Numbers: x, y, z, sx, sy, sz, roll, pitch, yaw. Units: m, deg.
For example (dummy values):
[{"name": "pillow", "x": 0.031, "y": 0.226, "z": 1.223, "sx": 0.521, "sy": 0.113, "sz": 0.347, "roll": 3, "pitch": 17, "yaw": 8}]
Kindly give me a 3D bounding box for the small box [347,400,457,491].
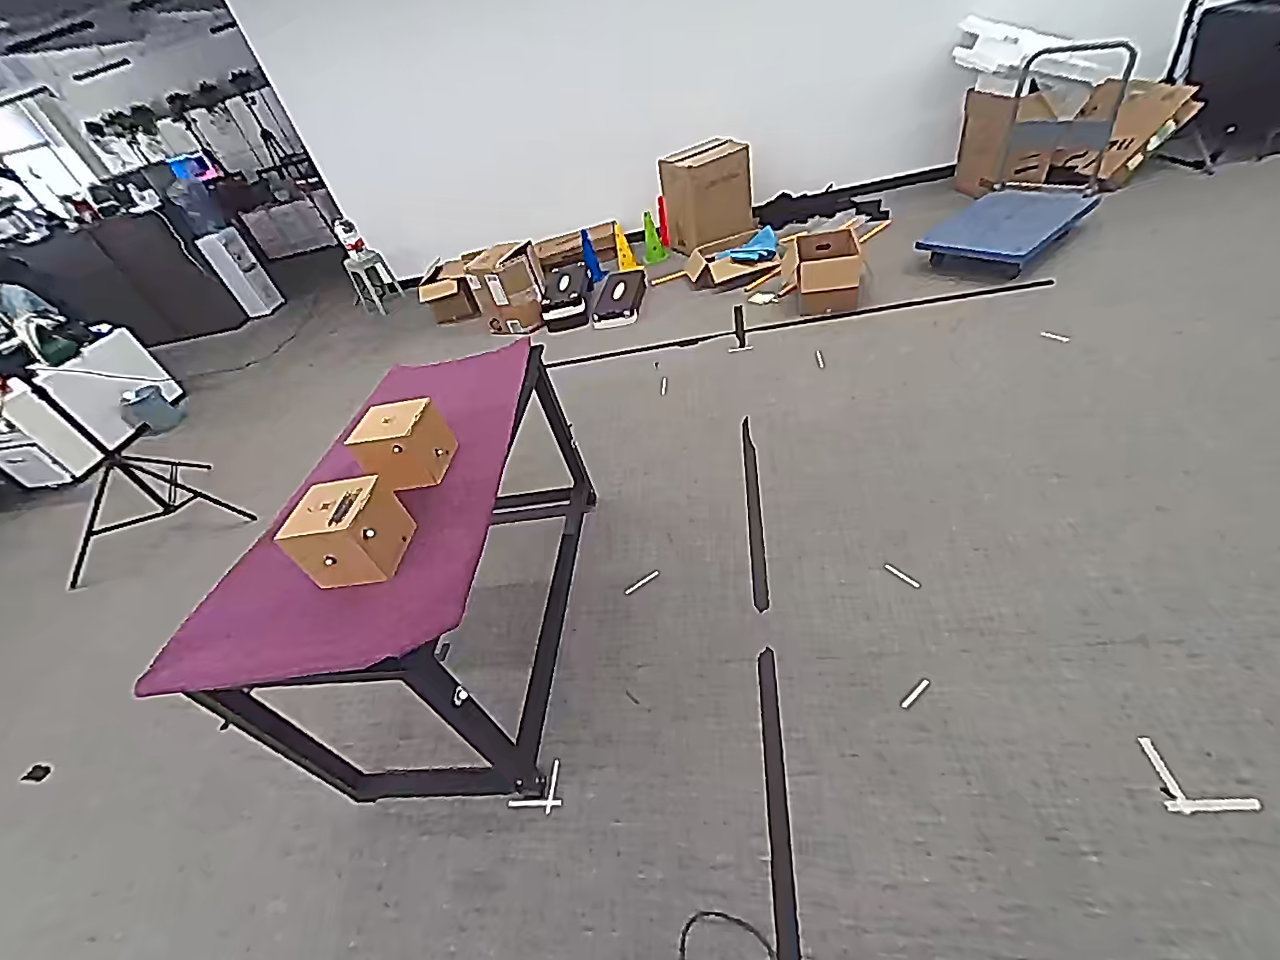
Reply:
[{"name": "small box", "x": -0.614, "y": -0.086, "z": 1.417, "sx": 0.179, "sy": 0.176, "sz": 0.168, "roll": -7, "pitch": 41, "yaw": 11}]
